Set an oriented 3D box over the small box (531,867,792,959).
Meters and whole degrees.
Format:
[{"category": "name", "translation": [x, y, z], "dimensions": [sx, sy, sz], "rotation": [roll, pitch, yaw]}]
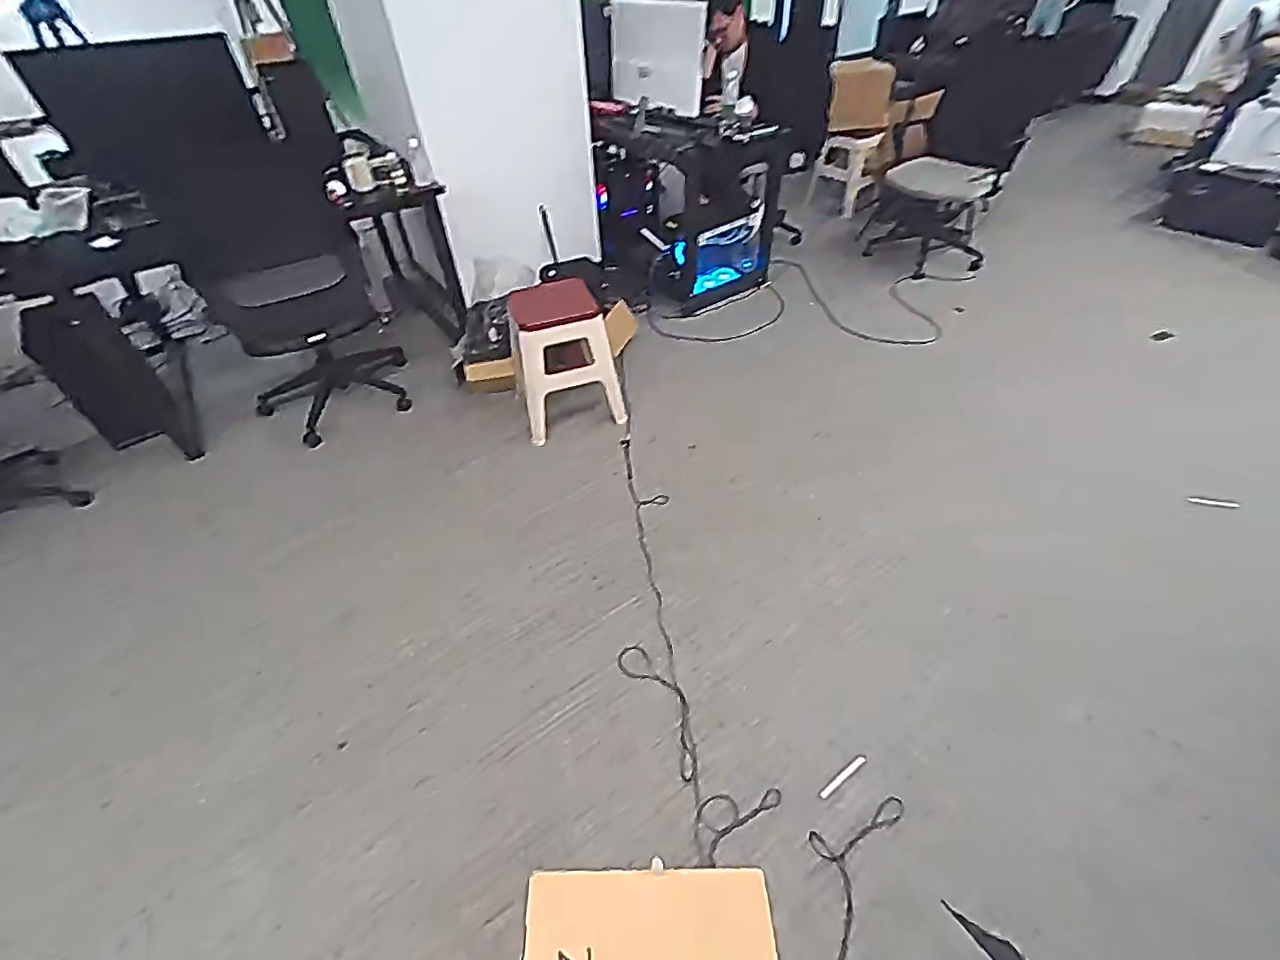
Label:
[{"category": "small box", "translation": [0.010, 0.395, 0.385], "dimensions": [0.179, 0.176, 0.168], "rotation": [2, 42, -3]}]
